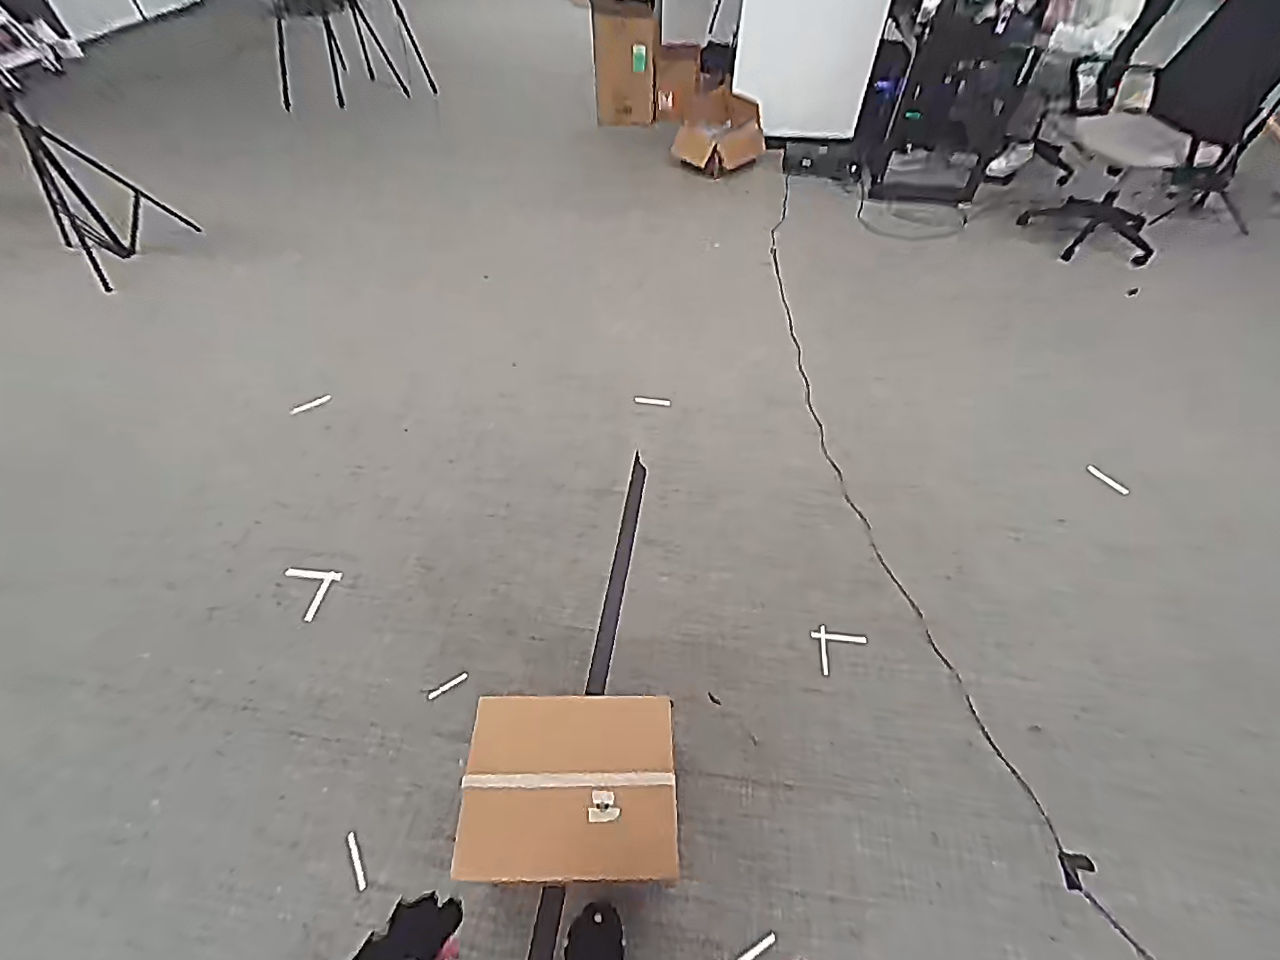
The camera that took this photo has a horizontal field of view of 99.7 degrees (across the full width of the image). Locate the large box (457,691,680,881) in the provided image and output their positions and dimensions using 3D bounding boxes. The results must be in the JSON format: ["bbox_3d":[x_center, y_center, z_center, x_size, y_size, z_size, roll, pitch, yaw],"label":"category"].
[{"bbox_3d":[-0.133,0.661,1.164,0.408,0.320,0.320,0,52,-1],"label":"large box"}]
